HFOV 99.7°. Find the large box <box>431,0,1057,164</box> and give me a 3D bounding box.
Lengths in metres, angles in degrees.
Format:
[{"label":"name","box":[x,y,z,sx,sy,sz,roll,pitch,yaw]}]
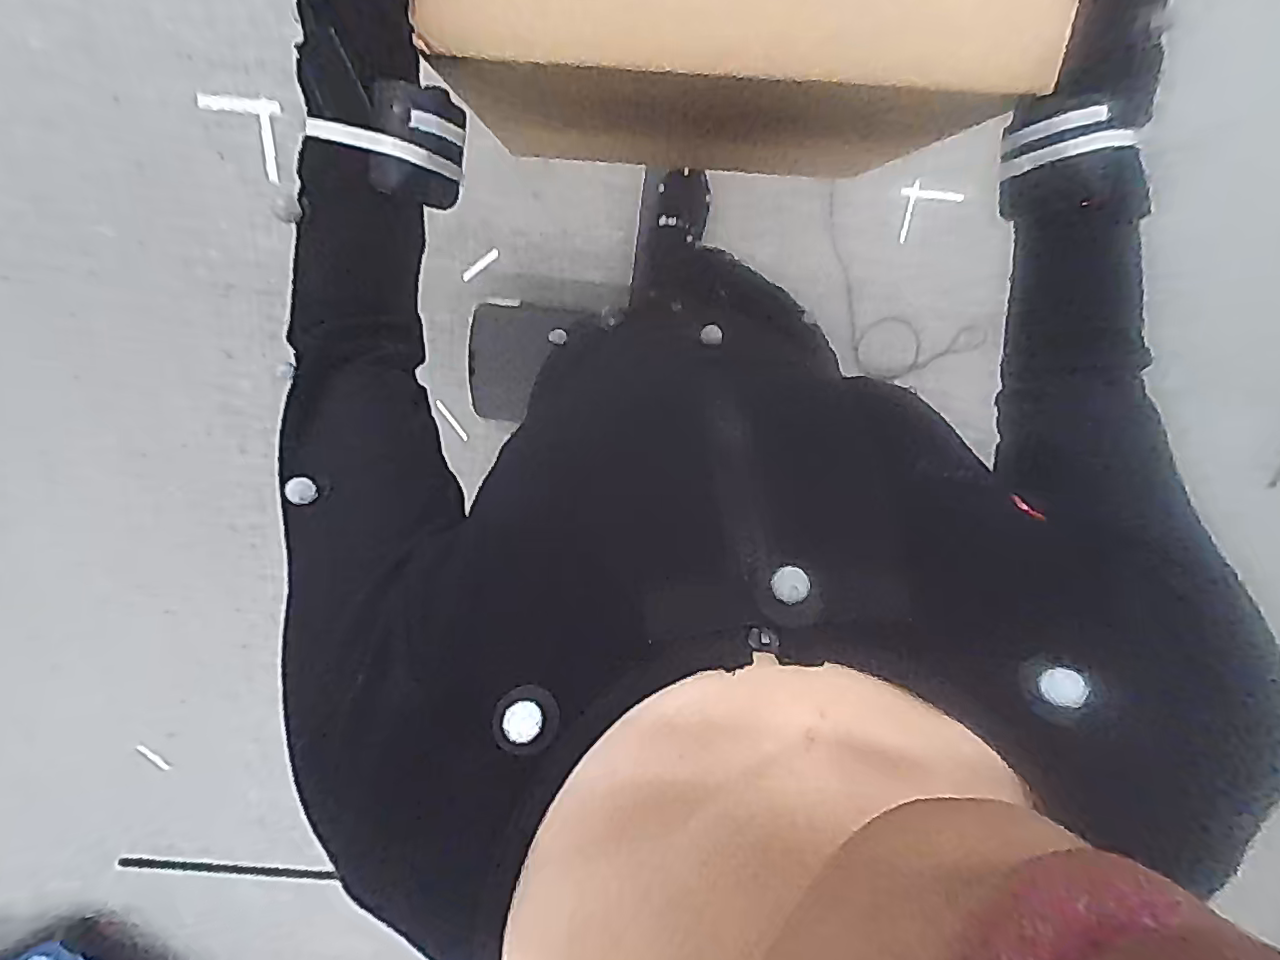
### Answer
[{"label":"large box","box":[0.064,-0.466,0.437,0.408,0.320,0.320,2,111,-3]}]
